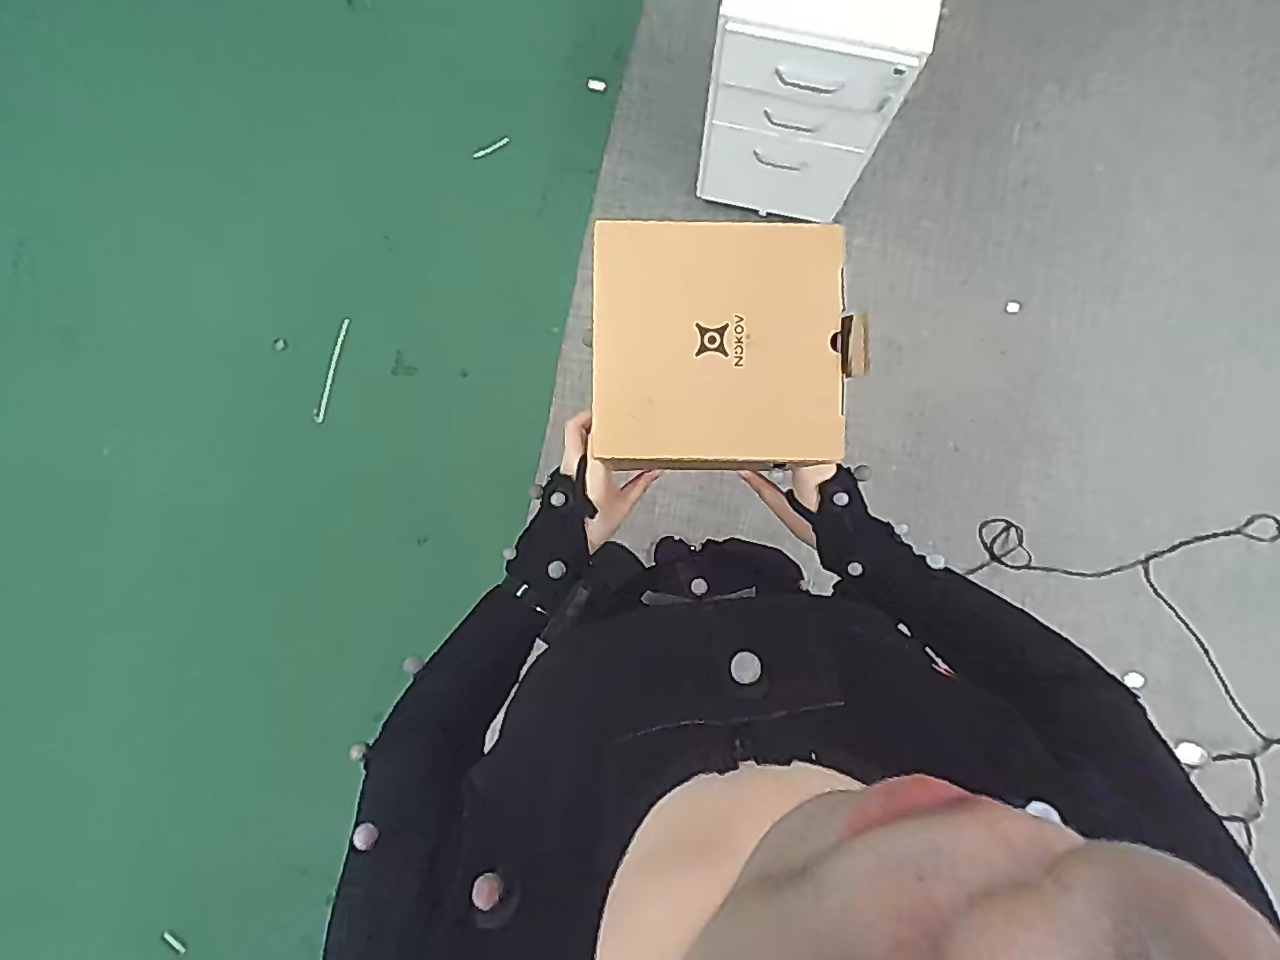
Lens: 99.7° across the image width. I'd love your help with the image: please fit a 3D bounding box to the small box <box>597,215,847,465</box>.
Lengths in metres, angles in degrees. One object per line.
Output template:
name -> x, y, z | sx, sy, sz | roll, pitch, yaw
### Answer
small box -> 0.058, -0.100, 0.457 | 0.179, 0.176, 0.168 | 1, 88, -1
